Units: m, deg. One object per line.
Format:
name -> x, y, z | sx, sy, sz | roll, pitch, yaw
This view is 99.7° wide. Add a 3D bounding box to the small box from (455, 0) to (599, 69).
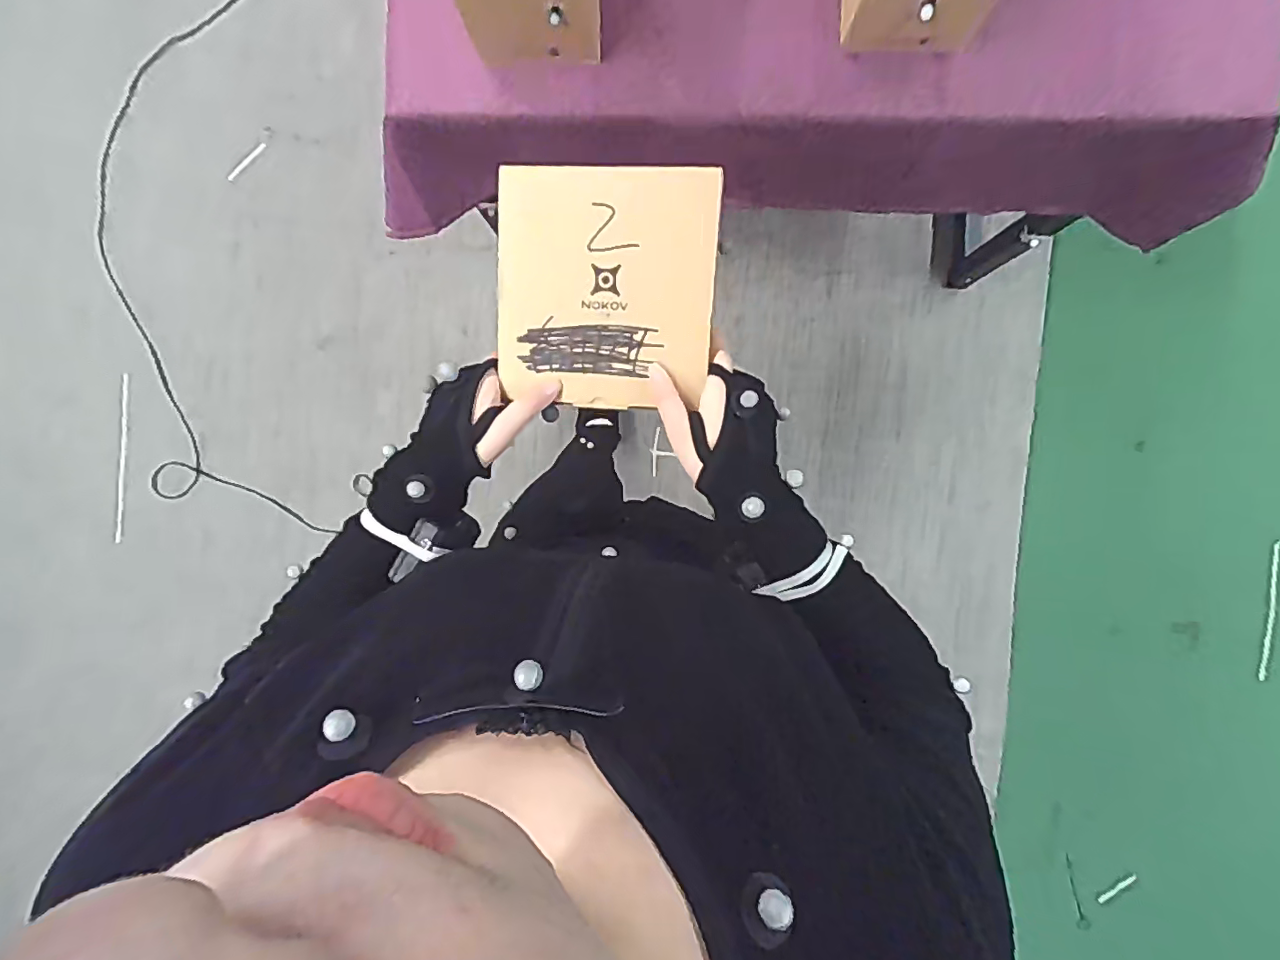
small box -> -0.139, -0.655, 0.675 | 0.168, 0.176, 0.179 | 1, 90, 1
